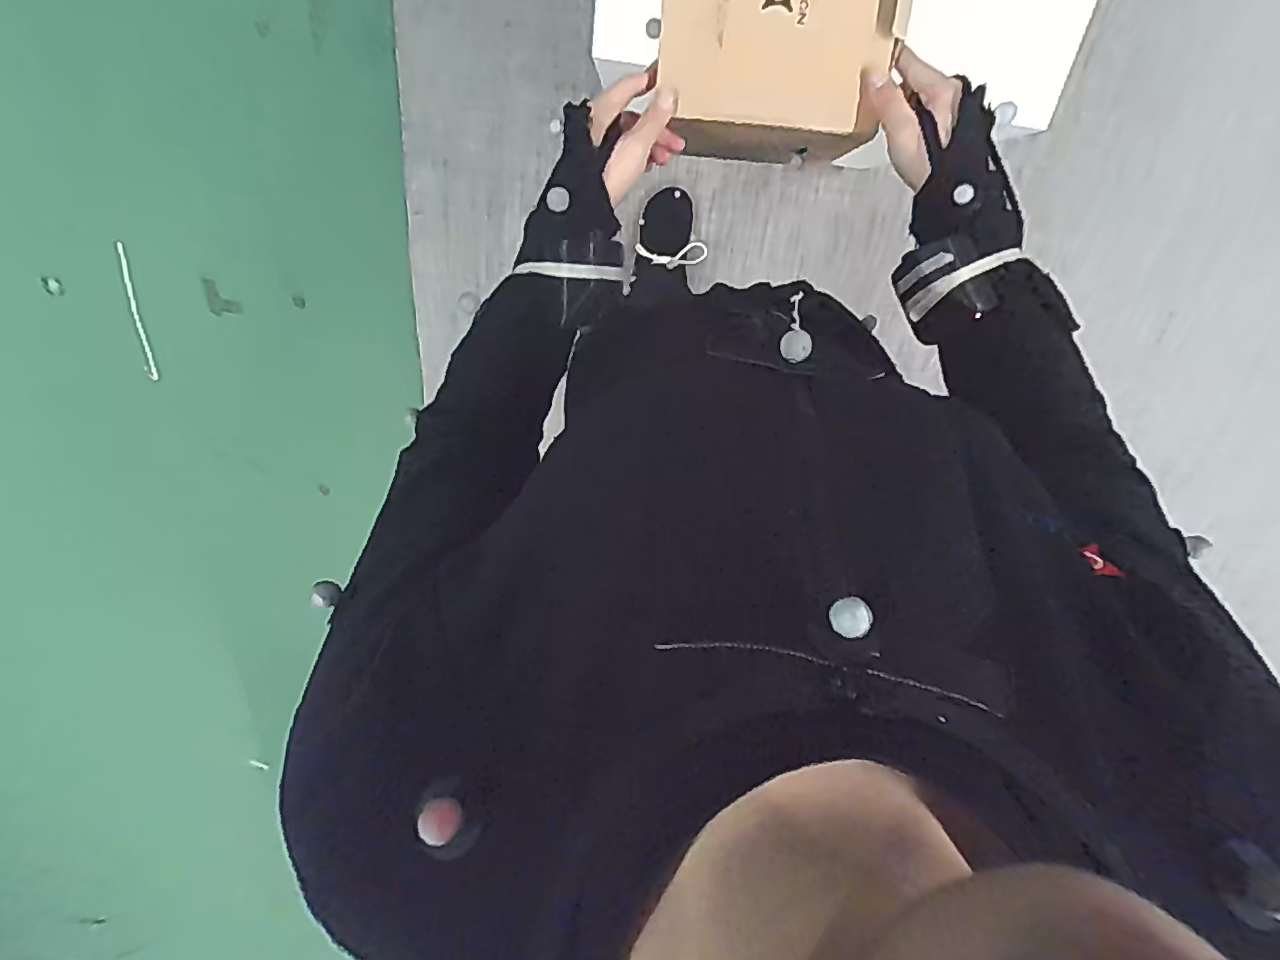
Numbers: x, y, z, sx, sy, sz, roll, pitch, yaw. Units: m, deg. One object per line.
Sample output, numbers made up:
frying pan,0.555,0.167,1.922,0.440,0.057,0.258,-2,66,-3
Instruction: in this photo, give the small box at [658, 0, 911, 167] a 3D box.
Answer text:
small box,0.110,-0.377,0.459,0.179,0.176,0.168,5,111,1
